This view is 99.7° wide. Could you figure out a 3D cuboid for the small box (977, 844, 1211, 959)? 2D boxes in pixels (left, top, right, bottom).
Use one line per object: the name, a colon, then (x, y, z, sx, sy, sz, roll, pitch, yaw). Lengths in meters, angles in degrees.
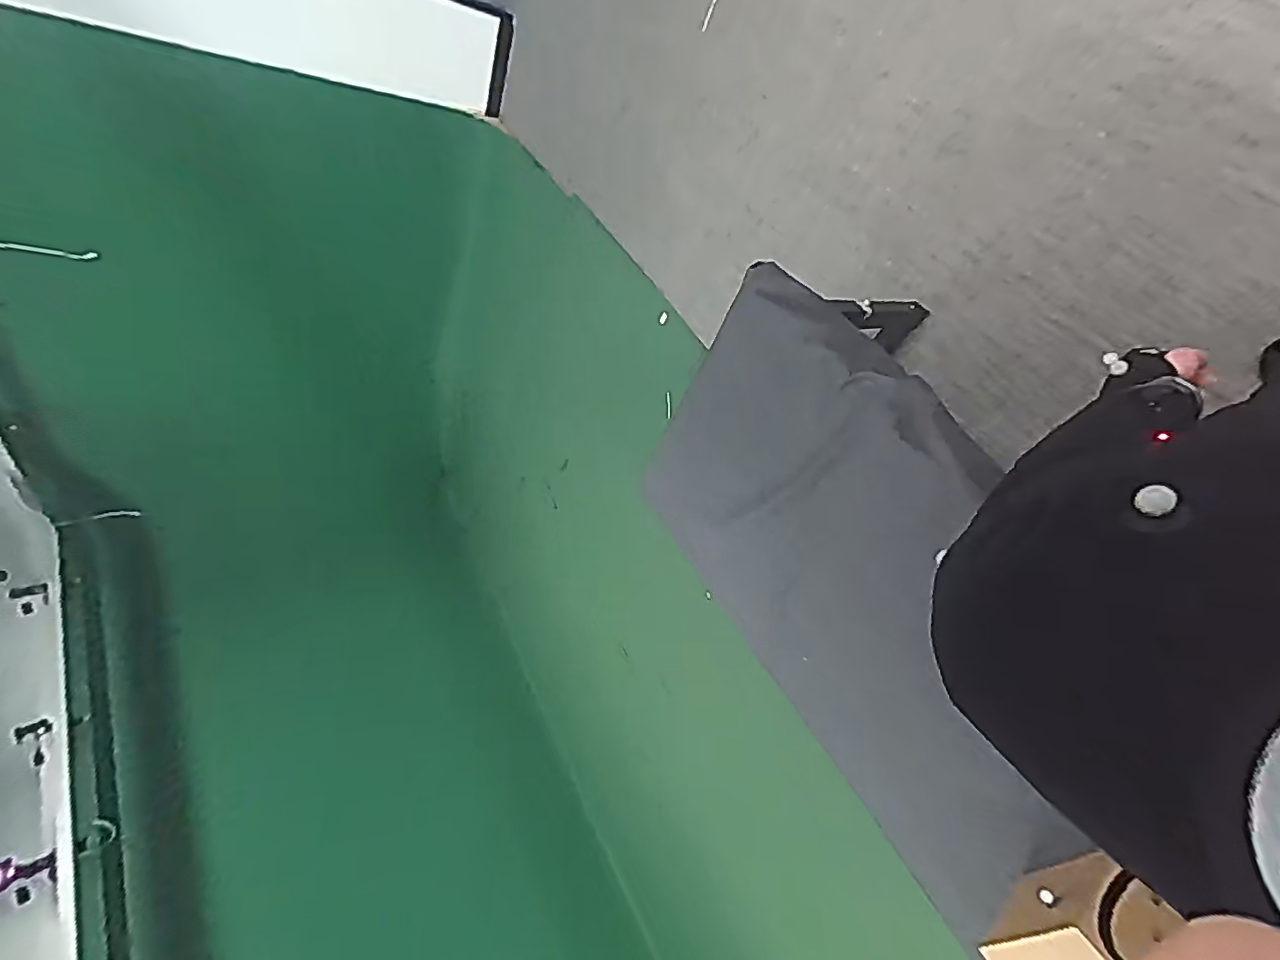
small box: (0.609, 0.630, 0.723, 0.168, 0.176, 0.179, 52, 137, 30)
